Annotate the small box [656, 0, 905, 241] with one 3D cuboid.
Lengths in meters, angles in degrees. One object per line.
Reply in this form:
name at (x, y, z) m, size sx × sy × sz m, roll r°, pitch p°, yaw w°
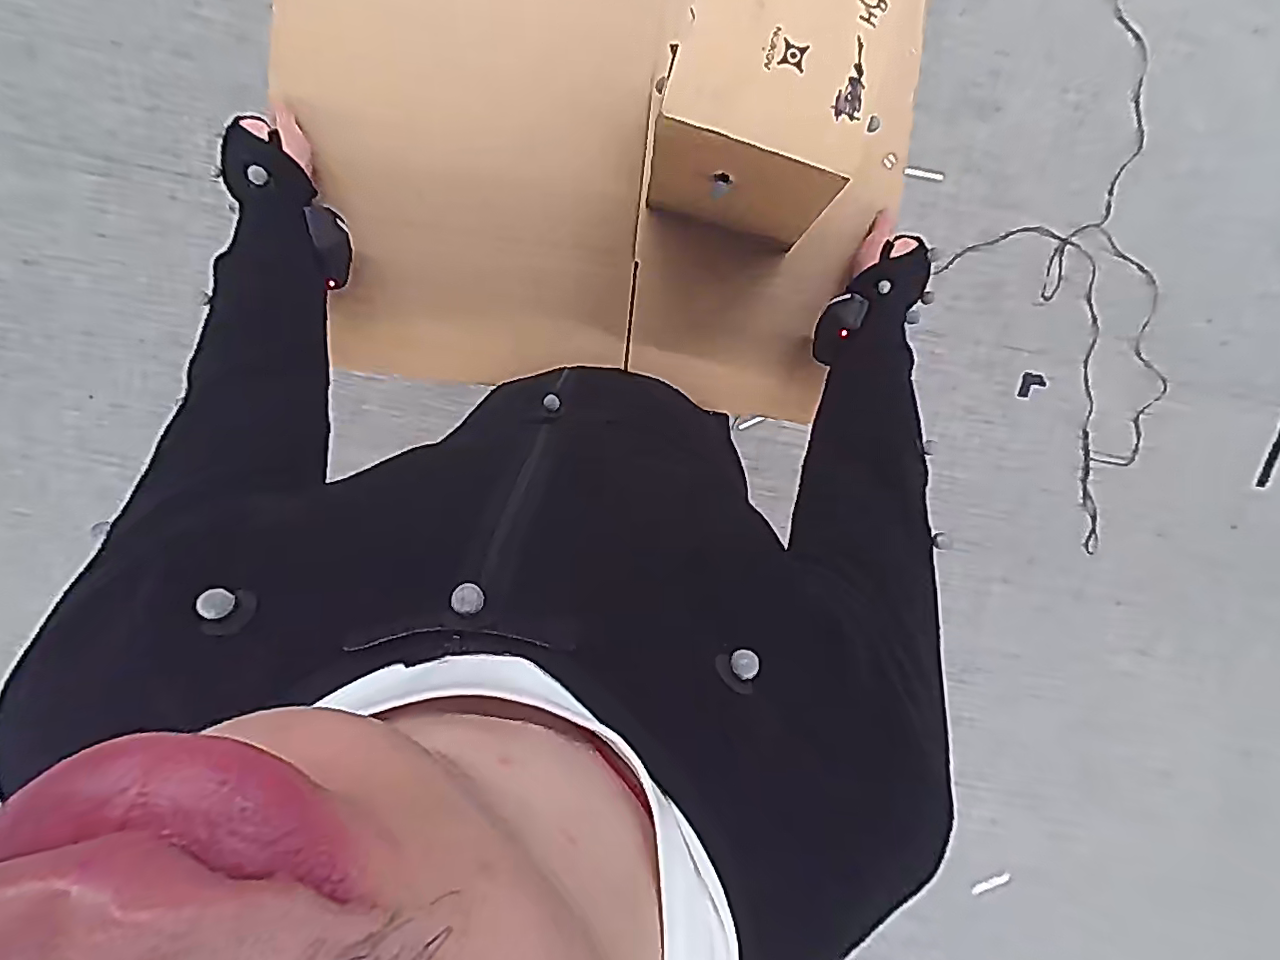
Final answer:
small box at (0.120, -0.366, 0.540) m, size 0.179 × 0.176 × 0.168 m, roll 16°, pitch 93°, yaw -3°
